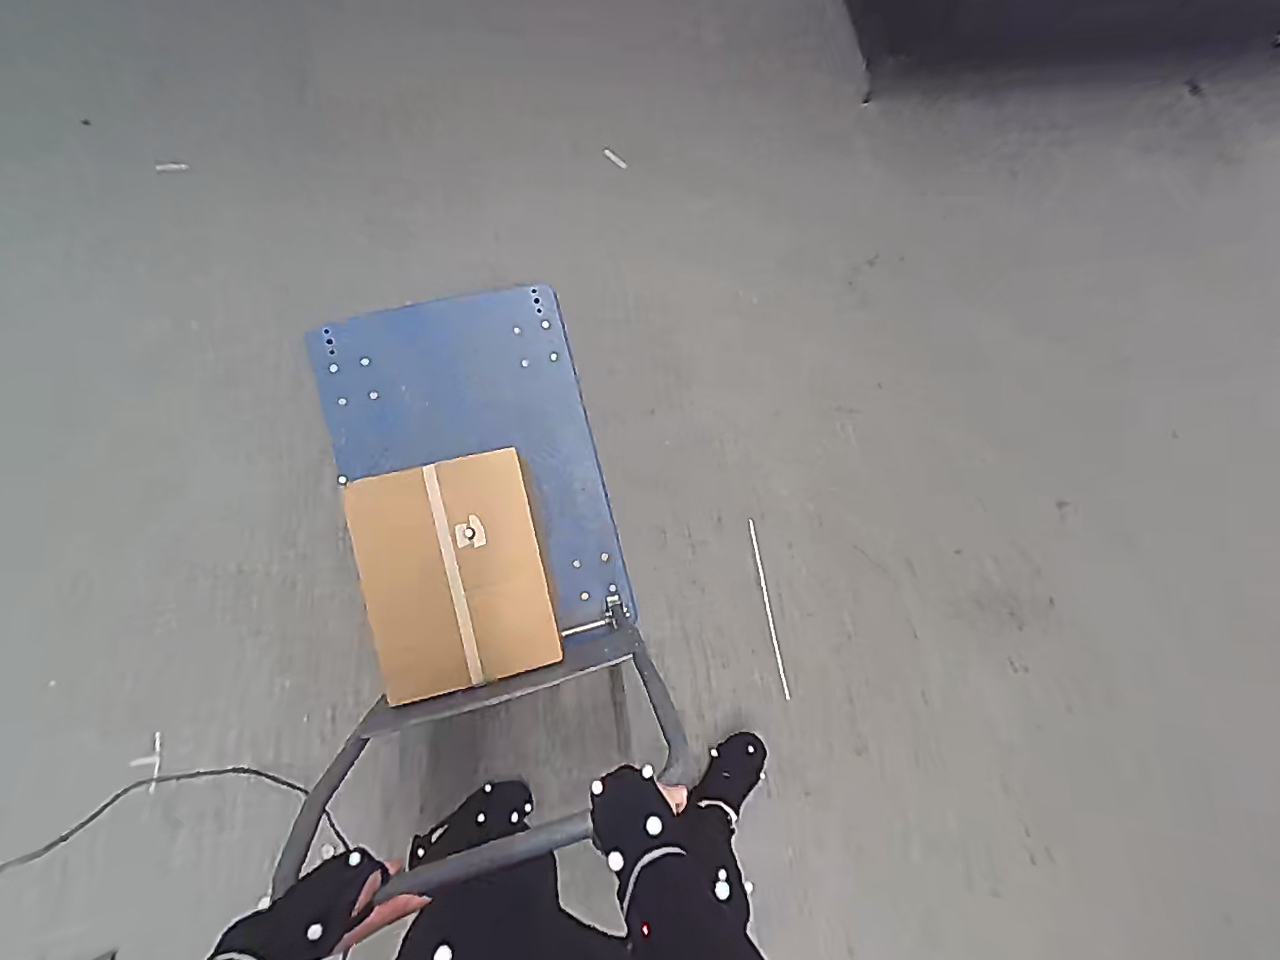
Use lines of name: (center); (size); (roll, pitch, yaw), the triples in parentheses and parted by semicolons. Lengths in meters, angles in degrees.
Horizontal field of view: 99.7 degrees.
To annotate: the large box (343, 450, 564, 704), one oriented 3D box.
large box: (-0.353, 0.179, 1.122); (0.320, 0.320, 0.408); (-13, 89, -9)
